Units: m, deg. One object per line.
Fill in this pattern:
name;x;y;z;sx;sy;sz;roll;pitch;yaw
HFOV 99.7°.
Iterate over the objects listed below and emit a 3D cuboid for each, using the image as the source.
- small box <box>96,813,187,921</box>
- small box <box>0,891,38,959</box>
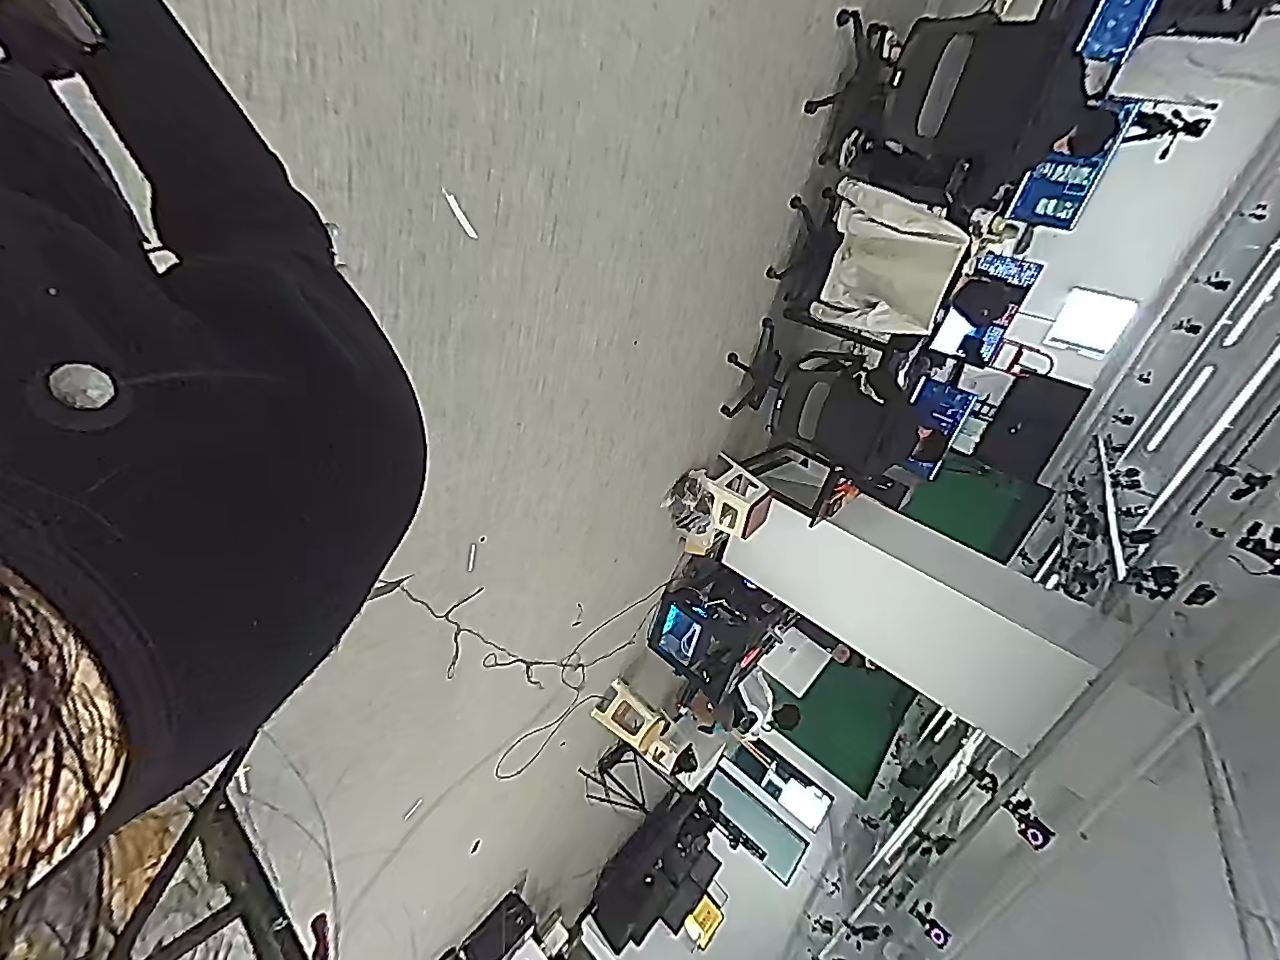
small box;-1.512;1.165;1.643;0.168;0.176;0.179;-18;132;-50
small box;-1.705;1.225;1.398;0.168;0.176;0.179;-20;132;-49
